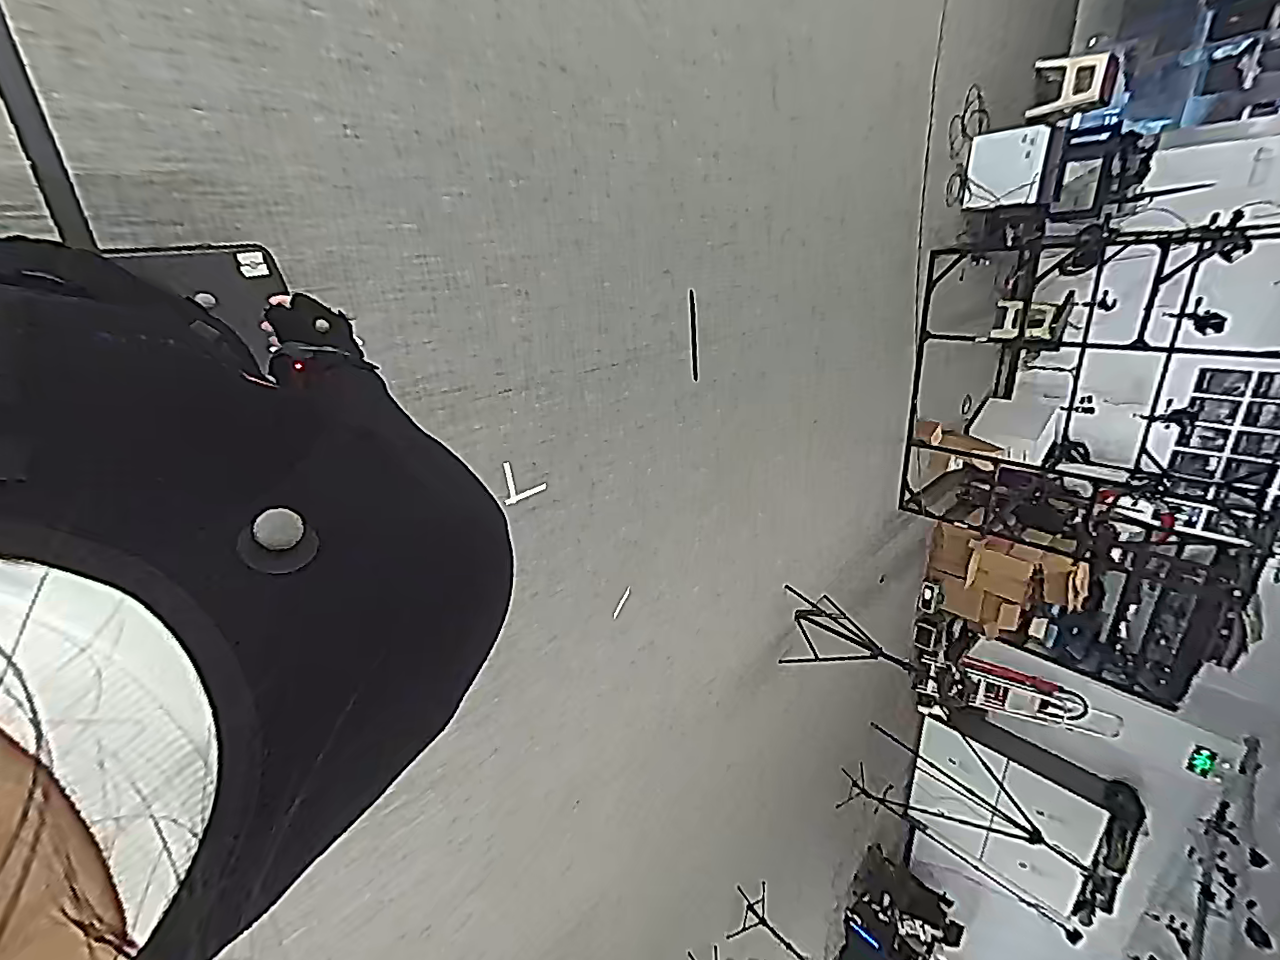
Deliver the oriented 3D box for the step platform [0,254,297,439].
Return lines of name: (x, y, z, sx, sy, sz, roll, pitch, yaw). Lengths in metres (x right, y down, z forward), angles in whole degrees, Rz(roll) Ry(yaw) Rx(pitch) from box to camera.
step platform: (-1.098, -0.278, 1.083, 0.684, 0.204, 0.286, -25, 121, -38)
